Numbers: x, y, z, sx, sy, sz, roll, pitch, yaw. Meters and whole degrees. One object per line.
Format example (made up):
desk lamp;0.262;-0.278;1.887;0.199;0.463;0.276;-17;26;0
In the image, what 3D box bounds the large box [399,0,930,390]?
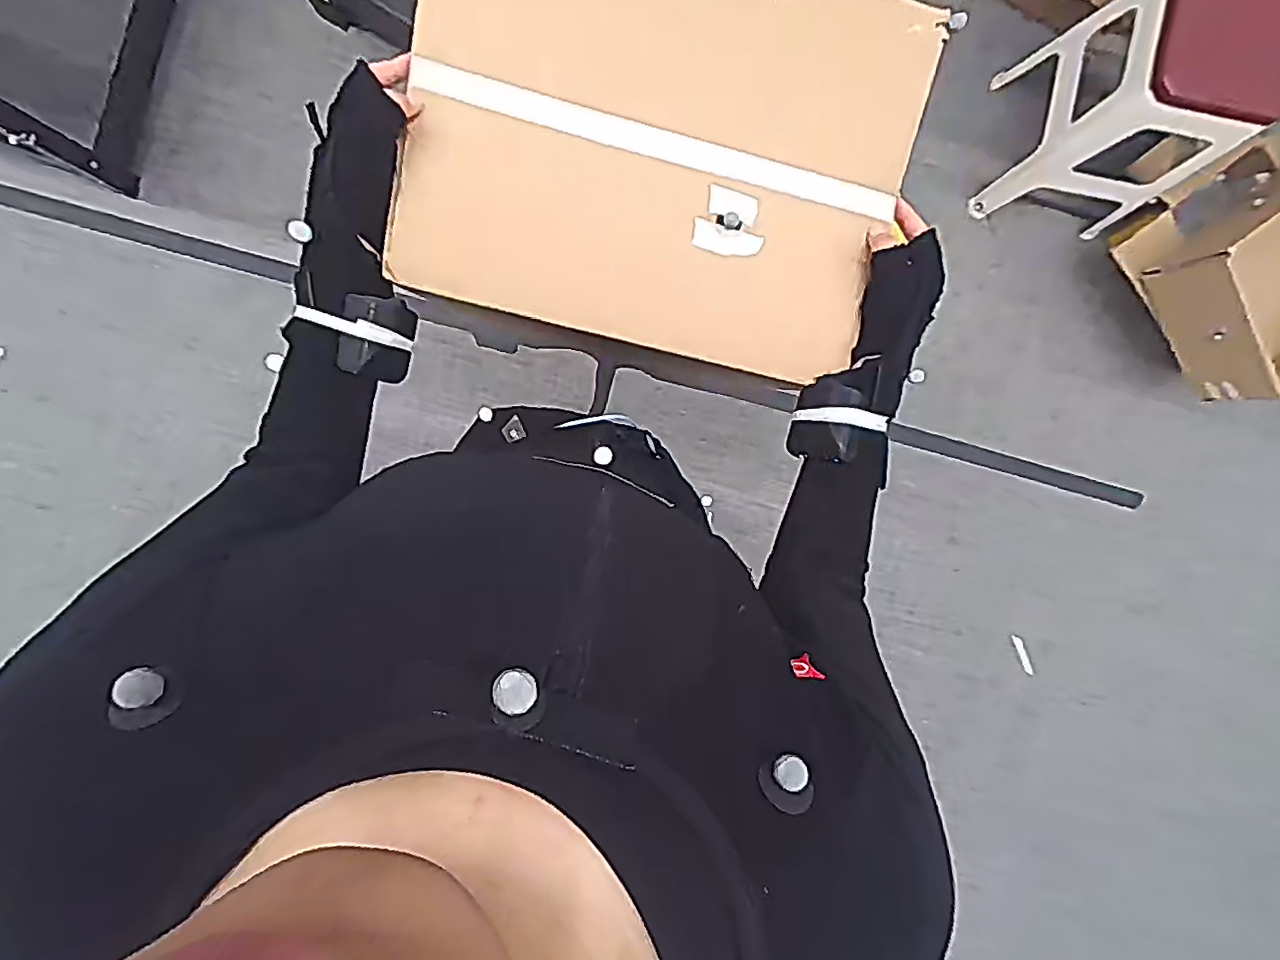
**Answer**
large box;0.006;-0.294;0.598;0.408;0.320;0.320;12;100;-8
